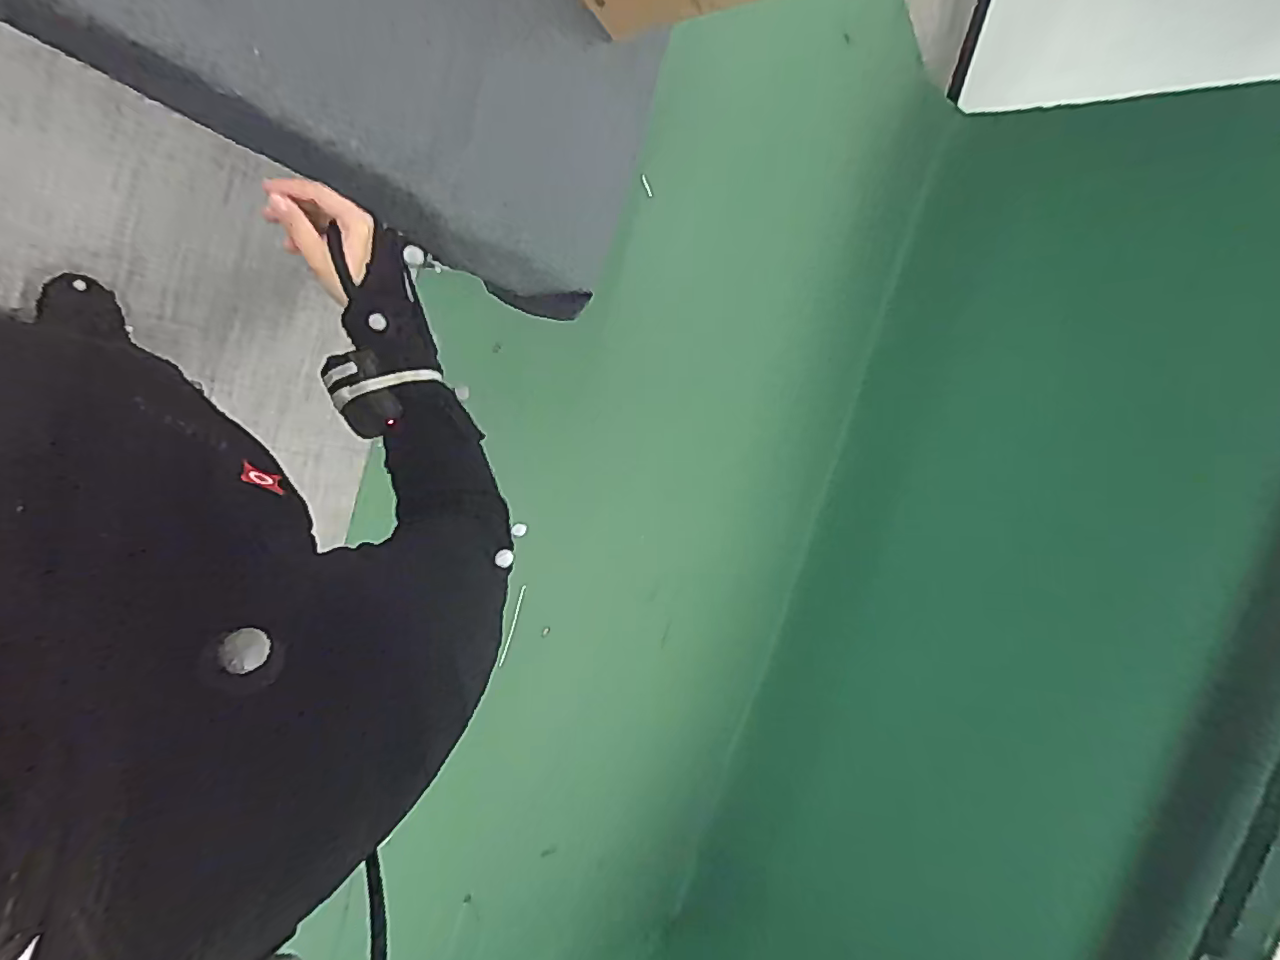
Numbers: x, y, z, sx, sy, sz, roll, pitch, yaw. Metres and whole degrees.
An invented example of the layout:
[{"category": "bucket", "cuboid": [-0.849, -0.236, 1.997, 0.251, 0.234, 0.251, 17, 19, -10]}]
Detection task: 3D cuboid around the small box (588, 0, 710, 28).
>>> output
[{"category": "small box", "cuboid": [0.005, -0.700, 0.646, 0.168, 0.176, 0.179, 15, 97, -53]}]
